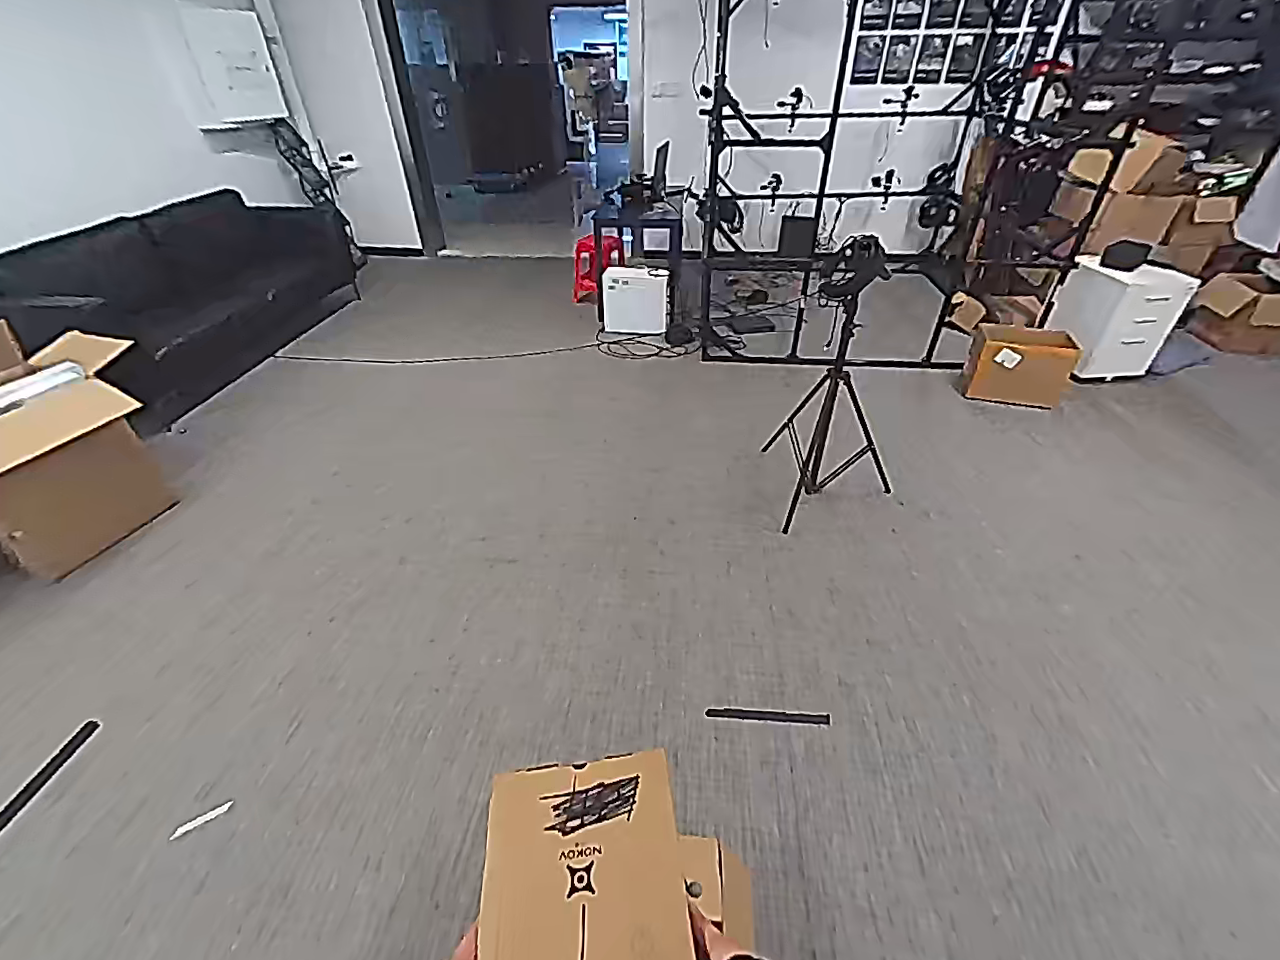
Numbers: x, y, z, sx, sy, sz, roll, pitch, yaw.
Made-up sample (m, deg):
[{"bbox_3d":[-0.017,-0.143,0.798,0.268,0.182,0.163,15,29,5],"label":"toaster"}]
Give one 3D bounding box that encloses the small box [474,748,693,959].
[{"bbox_3d":[-0.043,0.383,0.499,0.168,0.176,0.179,-8,38,-2],"label":"small box"}]
